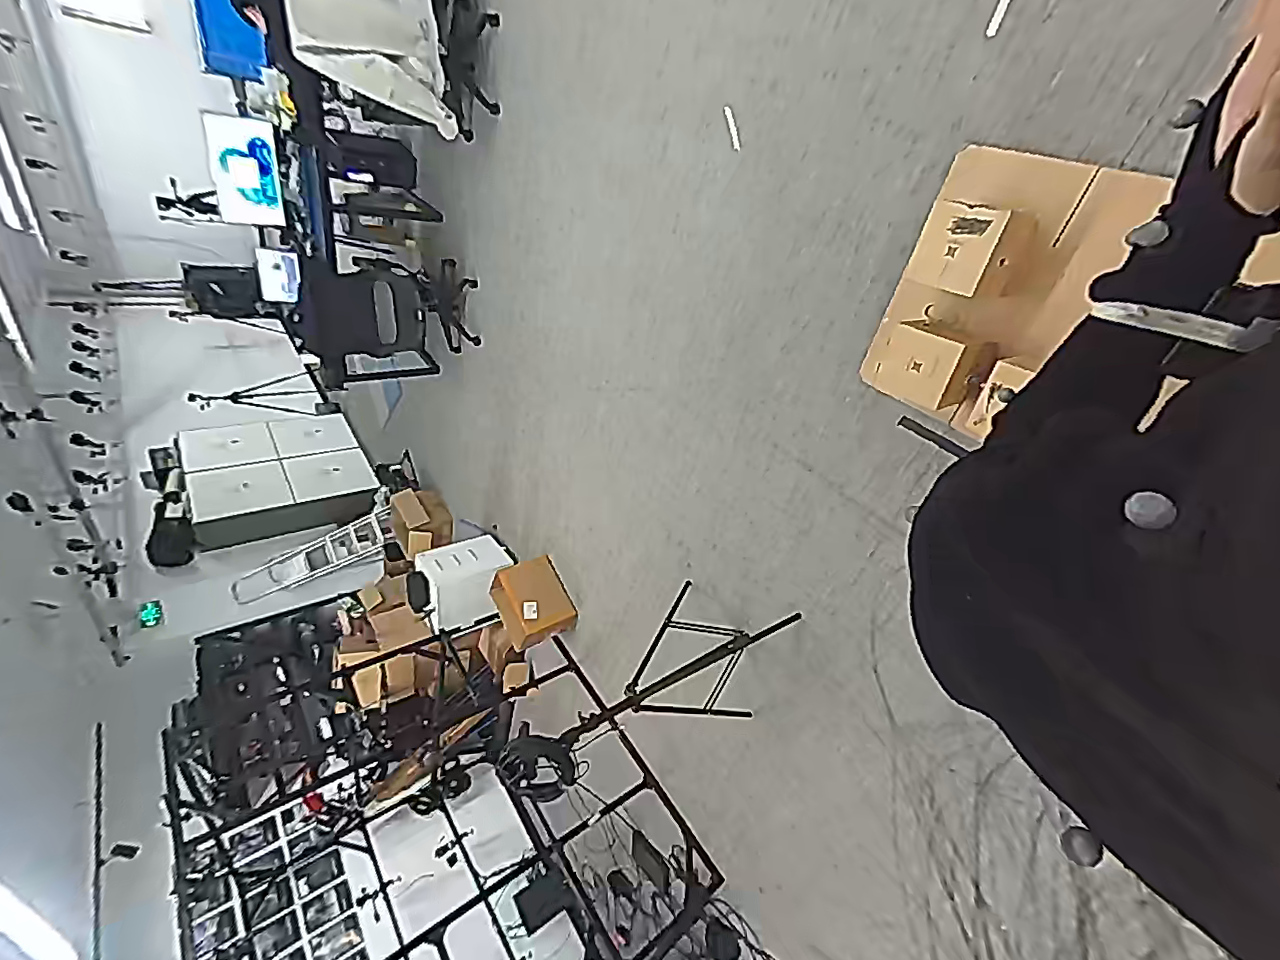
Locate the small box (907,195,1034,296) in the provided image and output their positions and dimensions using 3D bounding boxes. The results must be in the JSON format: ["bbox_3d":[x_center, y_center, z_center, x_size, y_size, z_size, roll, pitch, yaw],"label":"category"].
[{"bbox_3d":[0.752,-0.528,1.226,0.168,0.176,0.179,39,131,38],"label":"small box"}]

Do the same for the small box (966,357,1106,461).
[{"bbox_3d":[0.873,-0.166,1.190,0.179,0.176,0.168,38,129,38],"label":"small box"}]
